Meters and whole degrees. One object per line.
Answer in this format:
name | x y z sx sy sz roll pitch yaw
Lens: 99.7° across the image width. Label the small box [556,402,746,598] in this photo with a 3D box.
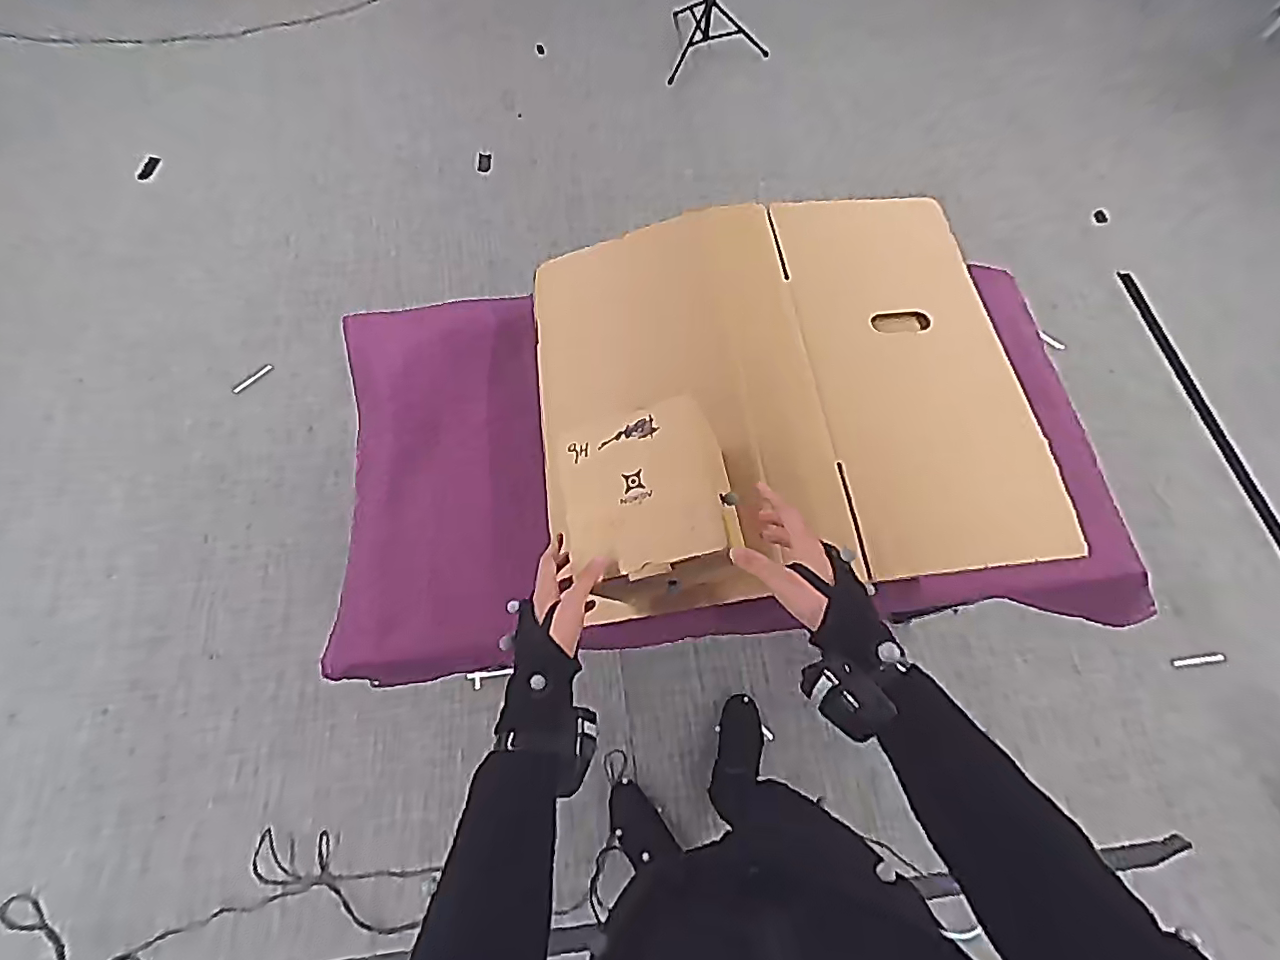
small box | 0.019 0.038 0.639 0.168 0.176 0.179 -16 69 14
